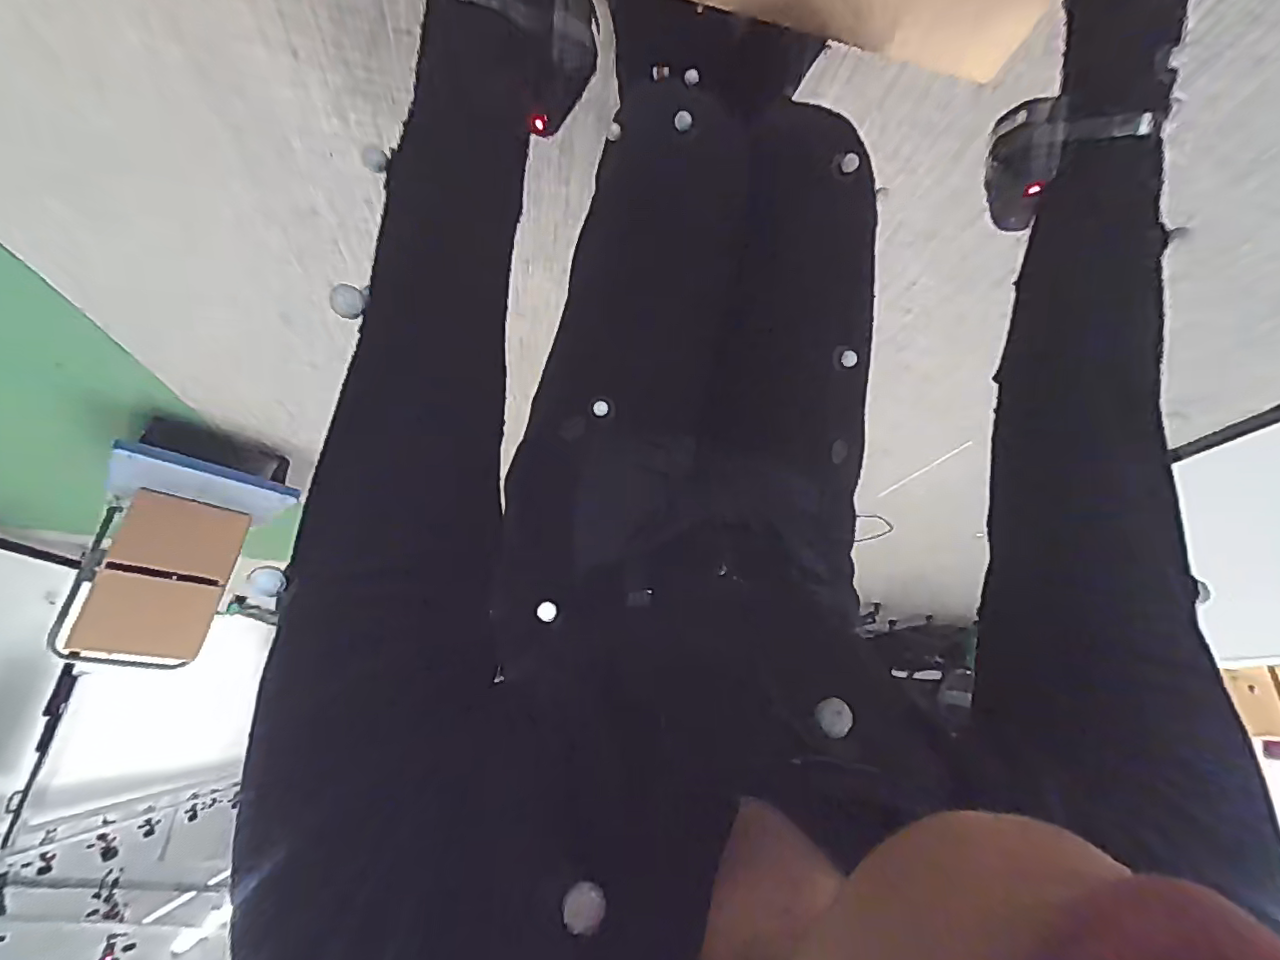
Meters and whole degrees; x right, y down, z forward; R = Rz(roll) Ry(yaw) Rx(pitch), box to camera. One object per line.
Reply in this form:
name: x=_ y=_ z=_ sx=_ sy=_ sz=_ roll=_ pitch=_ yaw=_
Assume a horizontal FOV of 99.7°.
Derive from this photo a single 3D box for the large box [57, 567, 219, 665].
large box: x=-2.048 y=0.564 z=2.238 sx=0.408 sy=0.320 sz=0.320 roll=26 pitch=154 yaw=-36
